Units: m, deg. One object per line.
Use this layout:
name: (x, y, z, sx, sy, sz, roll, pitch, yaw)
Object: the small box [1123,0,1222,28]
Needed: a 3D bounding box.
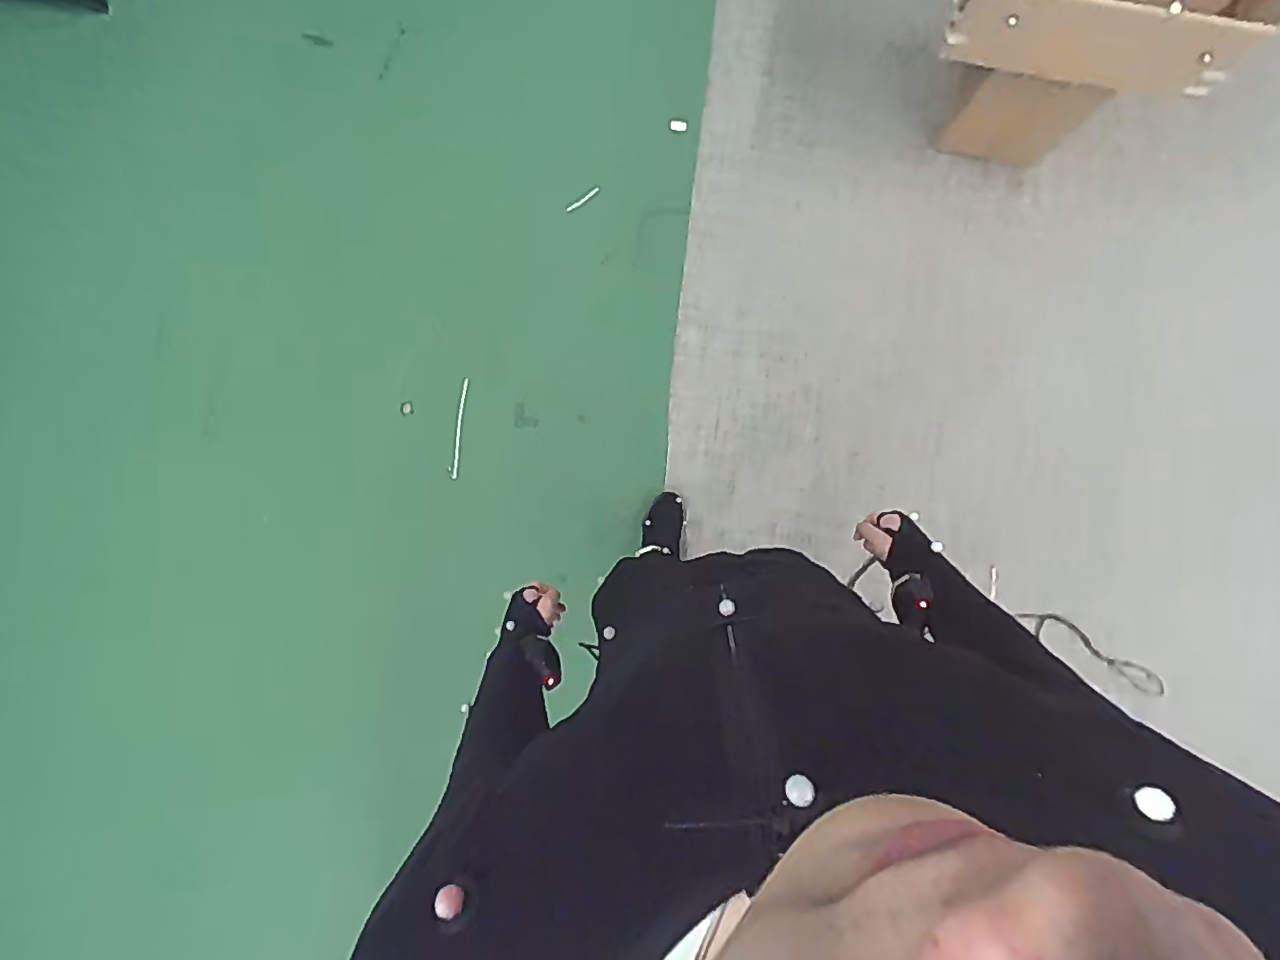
small box: (1.170, -1.110, 1.127, 0.168, 0.176, 0.179, 17, 89, 4)
